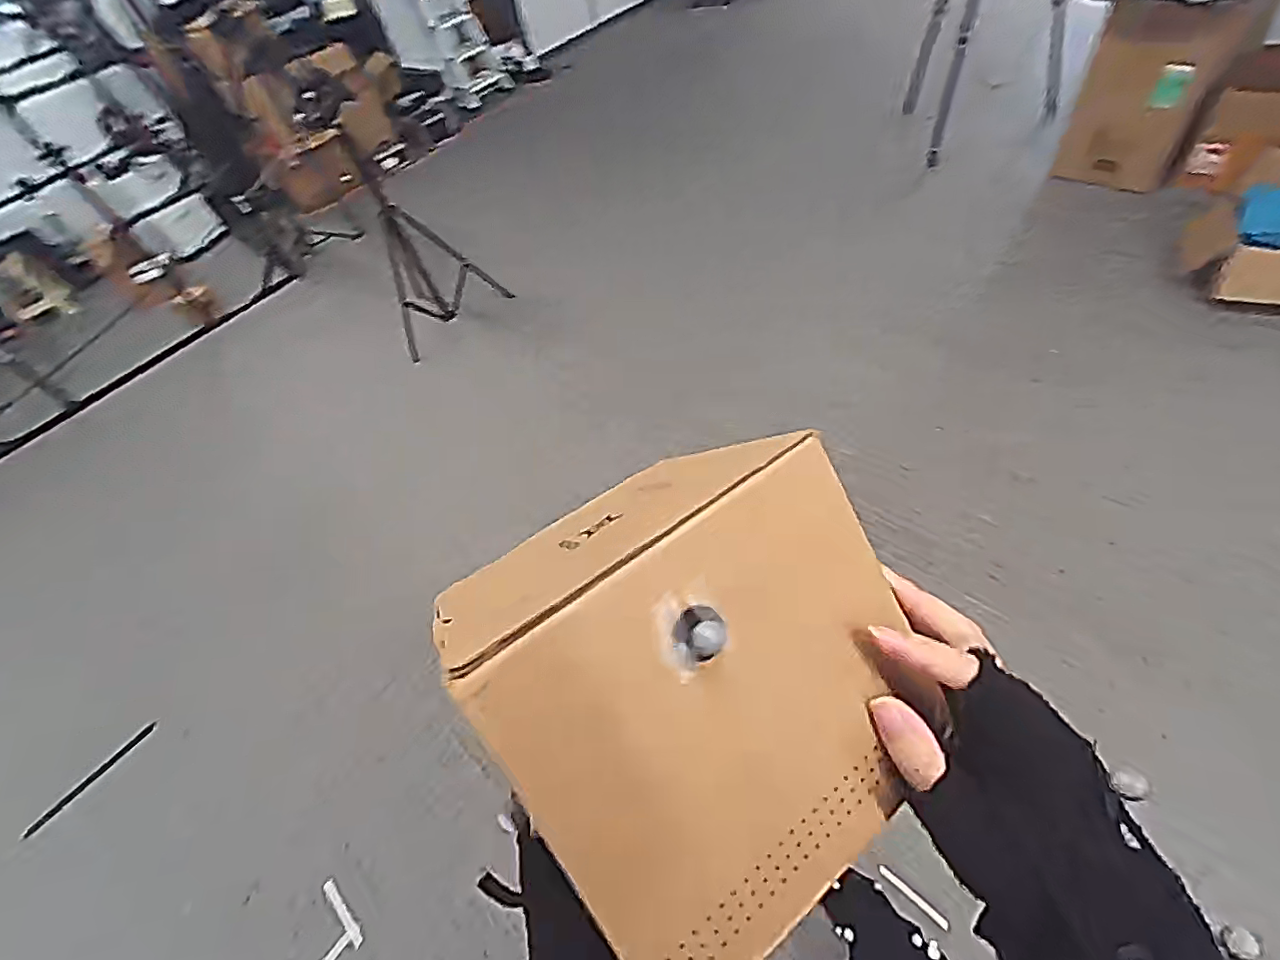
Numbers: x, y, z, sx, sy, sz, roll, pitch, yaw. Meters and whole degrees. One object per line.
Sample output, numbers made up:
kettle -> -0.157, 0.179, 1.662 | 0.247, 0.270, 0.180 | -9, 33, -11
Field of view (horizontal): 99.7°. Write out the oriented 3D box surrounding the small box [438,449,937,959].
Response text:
small box -> 0.017, 0.105, 0.289 | 0.179, 0.176, 0.168 | -32, 9, -22
